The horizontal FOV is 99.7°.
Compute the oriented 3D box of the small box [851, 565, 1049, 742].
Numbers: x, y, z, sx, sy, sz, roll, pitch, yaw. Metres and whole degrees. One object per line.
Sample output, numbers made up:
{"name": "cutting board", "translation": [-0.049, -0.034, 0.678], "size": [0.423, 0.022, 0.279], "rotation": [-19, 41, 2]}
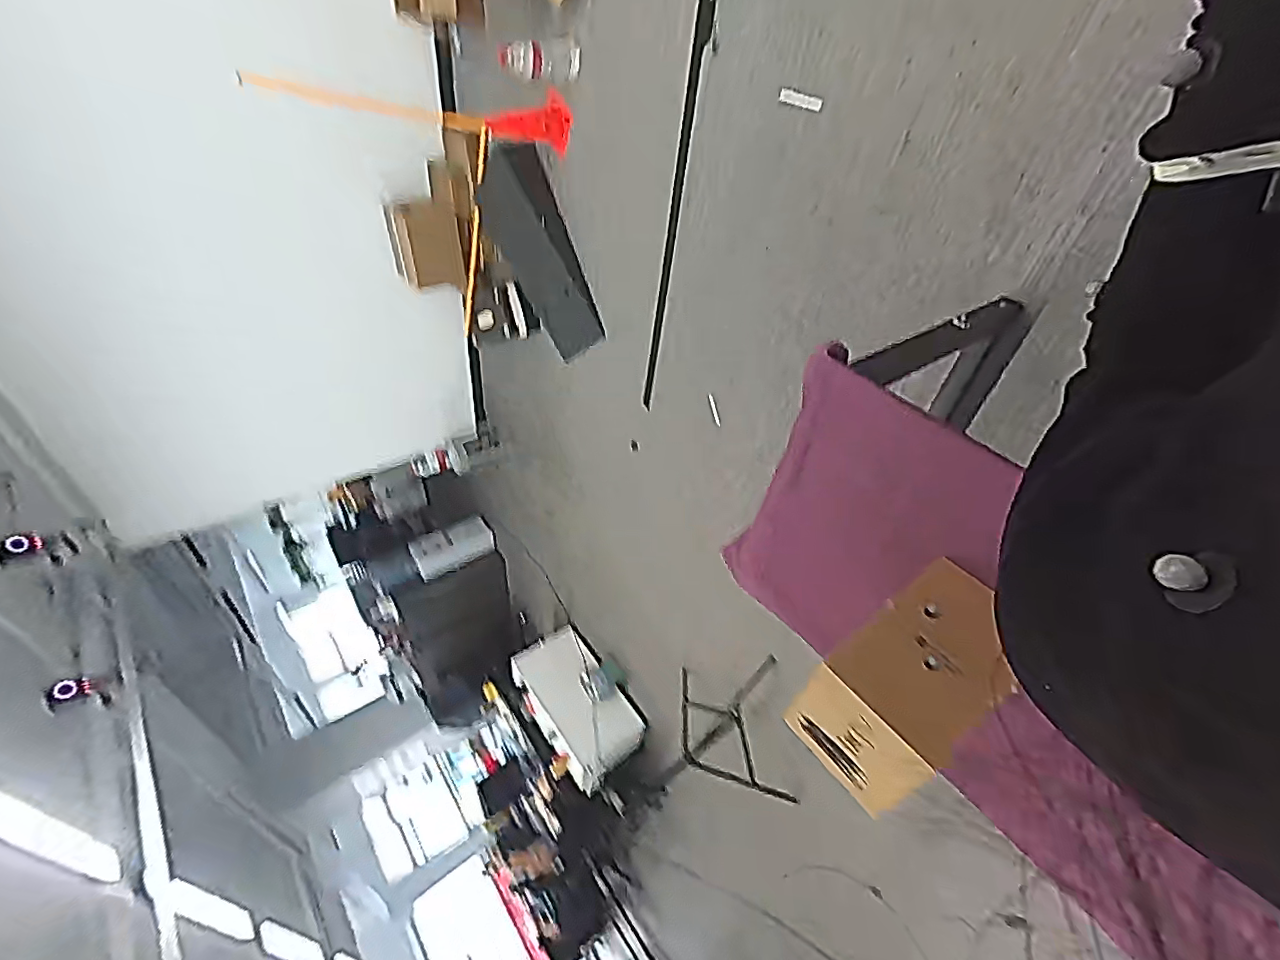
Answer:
{"name": "small box", "translation": [0.472, 0.255, 0.836], "size": [0.179, 0.176, 0.168], "rotation": [42, 143, 33]}
